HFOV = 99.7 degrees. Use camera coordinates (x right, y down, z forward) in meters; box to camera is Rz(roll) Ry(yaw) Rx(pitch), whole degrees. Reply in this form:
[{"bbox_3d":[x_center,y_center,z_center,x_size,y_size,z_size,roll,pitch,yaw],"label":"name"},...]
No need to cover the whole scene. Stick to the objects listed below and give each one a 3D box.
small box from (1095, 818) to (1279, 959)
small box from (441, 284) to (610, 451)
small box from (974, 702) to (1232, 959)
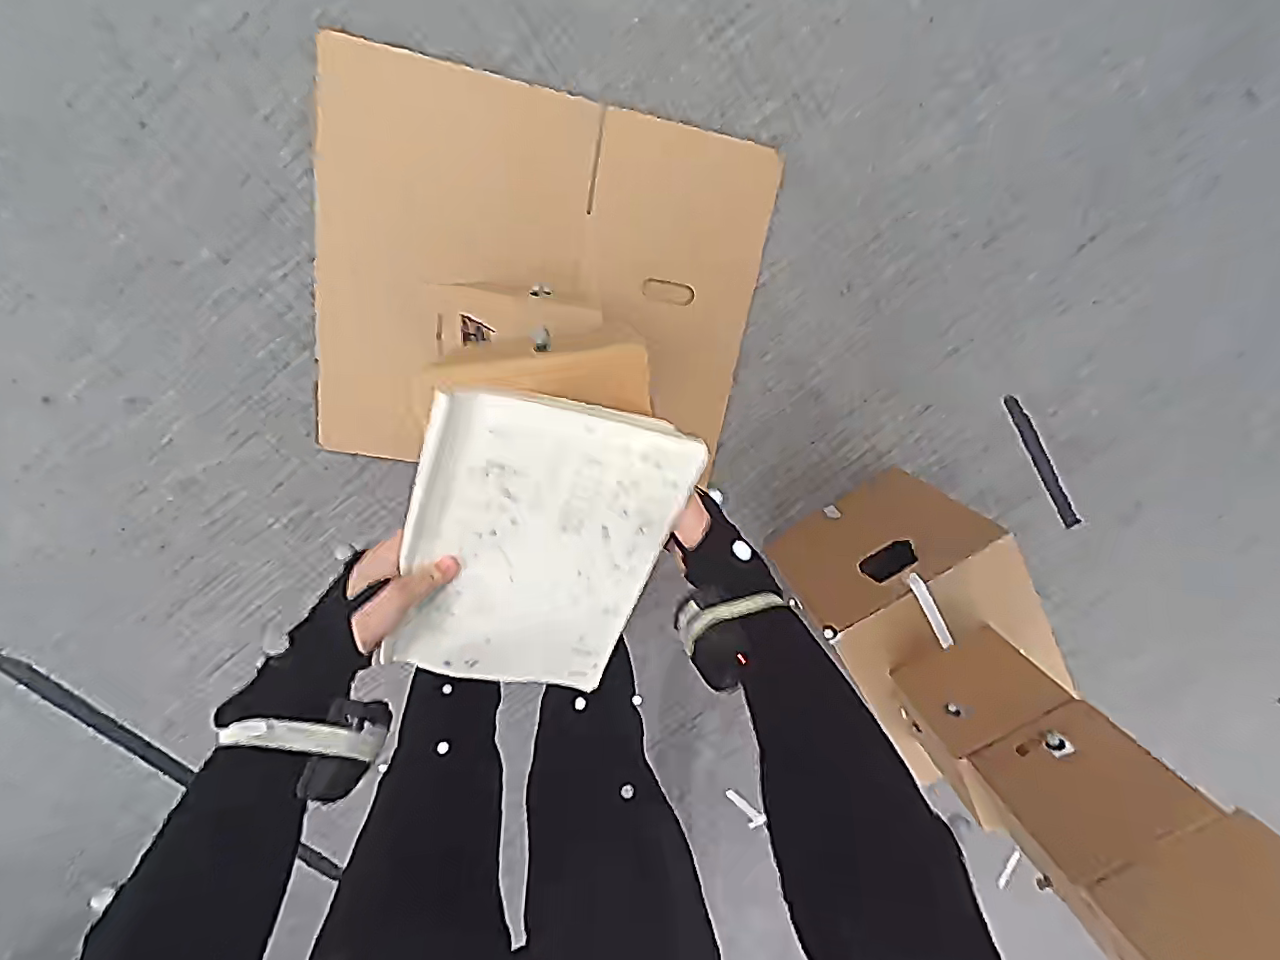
[{"bbox_3d":[0.575,0.454,0.487,0.179,0.176,0.168,-32,110,4],"label":"small box"},{"bbox_3d":[-0.140,-0.147,0.683,0.179,0.176,0.168,6,110,-10],"label":"small box"},{"bbox_3d":[0.547,0.408,0.643,0.168,0.176,0.179,-34,109,5],"label":"small box"}]
